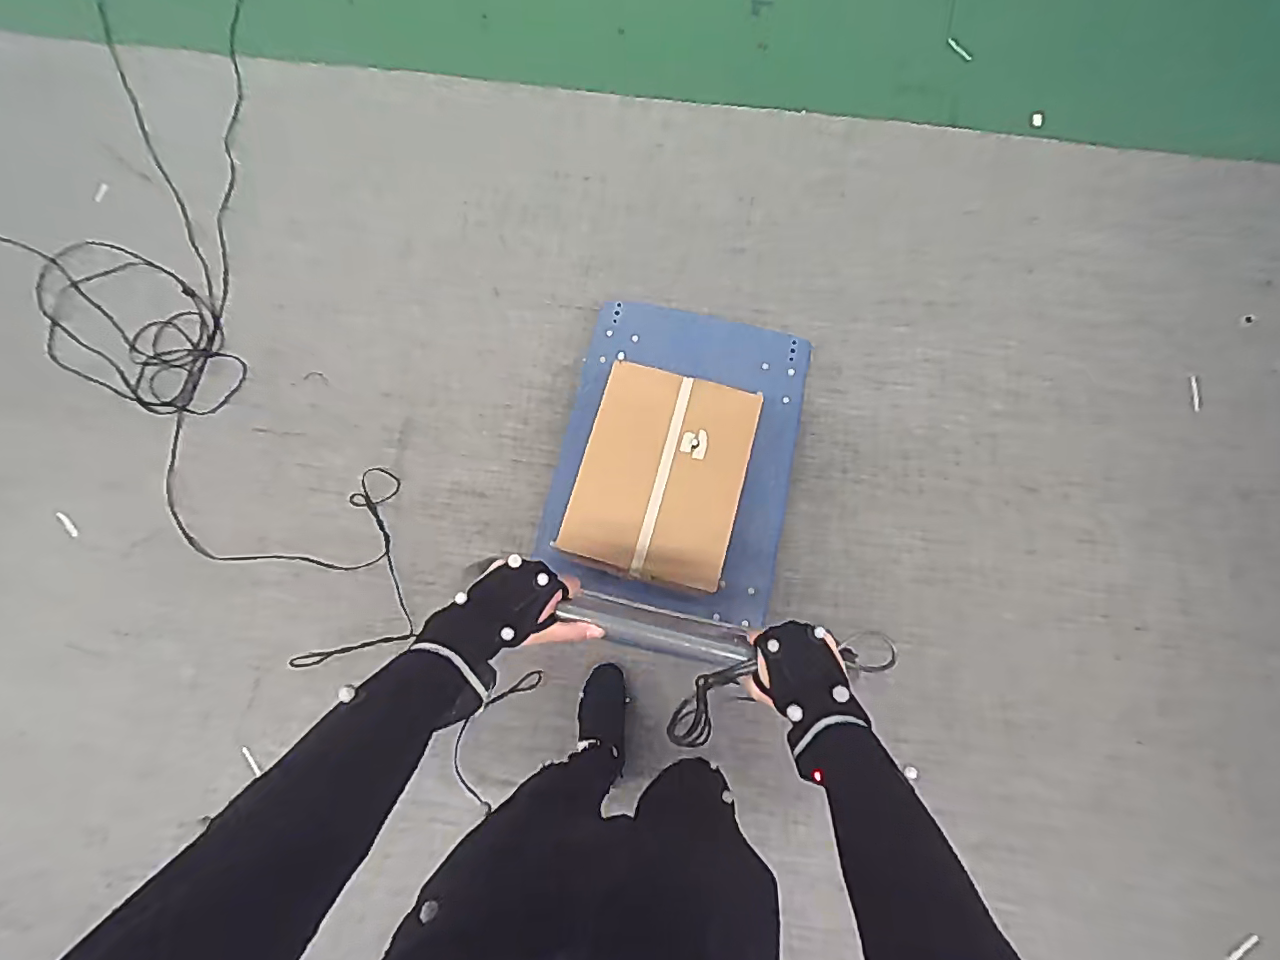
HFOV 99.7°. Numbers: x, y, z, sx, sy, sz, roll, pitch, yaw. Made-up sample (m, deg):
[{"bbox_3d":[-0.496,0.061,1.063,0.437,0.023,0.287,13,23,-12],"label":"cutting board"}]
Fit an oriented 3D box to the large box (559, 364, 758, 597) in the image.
[{"bbox_3d":[0.041,0.021,1.196,0.320,0.320,0.408,16,76,2],"label":"large box"}]
